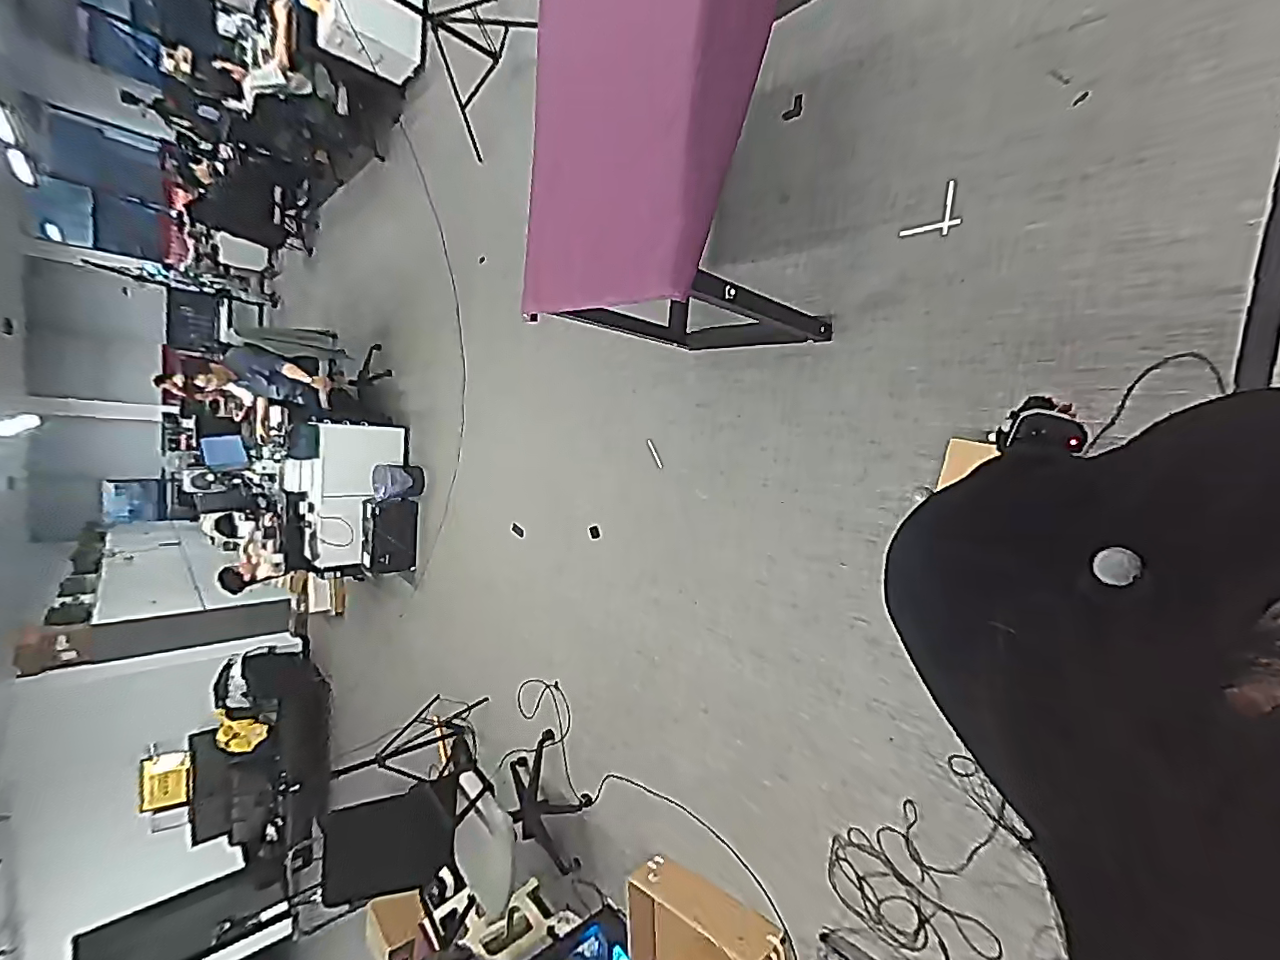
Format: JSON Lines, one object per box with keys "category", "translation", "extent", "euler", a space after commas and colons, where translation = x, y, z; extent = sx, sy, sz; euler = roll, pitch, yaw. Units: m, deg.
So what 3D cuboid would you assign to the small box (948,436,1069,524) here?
{"category": "small box", "translation": [0.861, -0.002, 1.260], "extent": [0.179, 0.176, 0.168], "euler": [20, 103, 49]}
